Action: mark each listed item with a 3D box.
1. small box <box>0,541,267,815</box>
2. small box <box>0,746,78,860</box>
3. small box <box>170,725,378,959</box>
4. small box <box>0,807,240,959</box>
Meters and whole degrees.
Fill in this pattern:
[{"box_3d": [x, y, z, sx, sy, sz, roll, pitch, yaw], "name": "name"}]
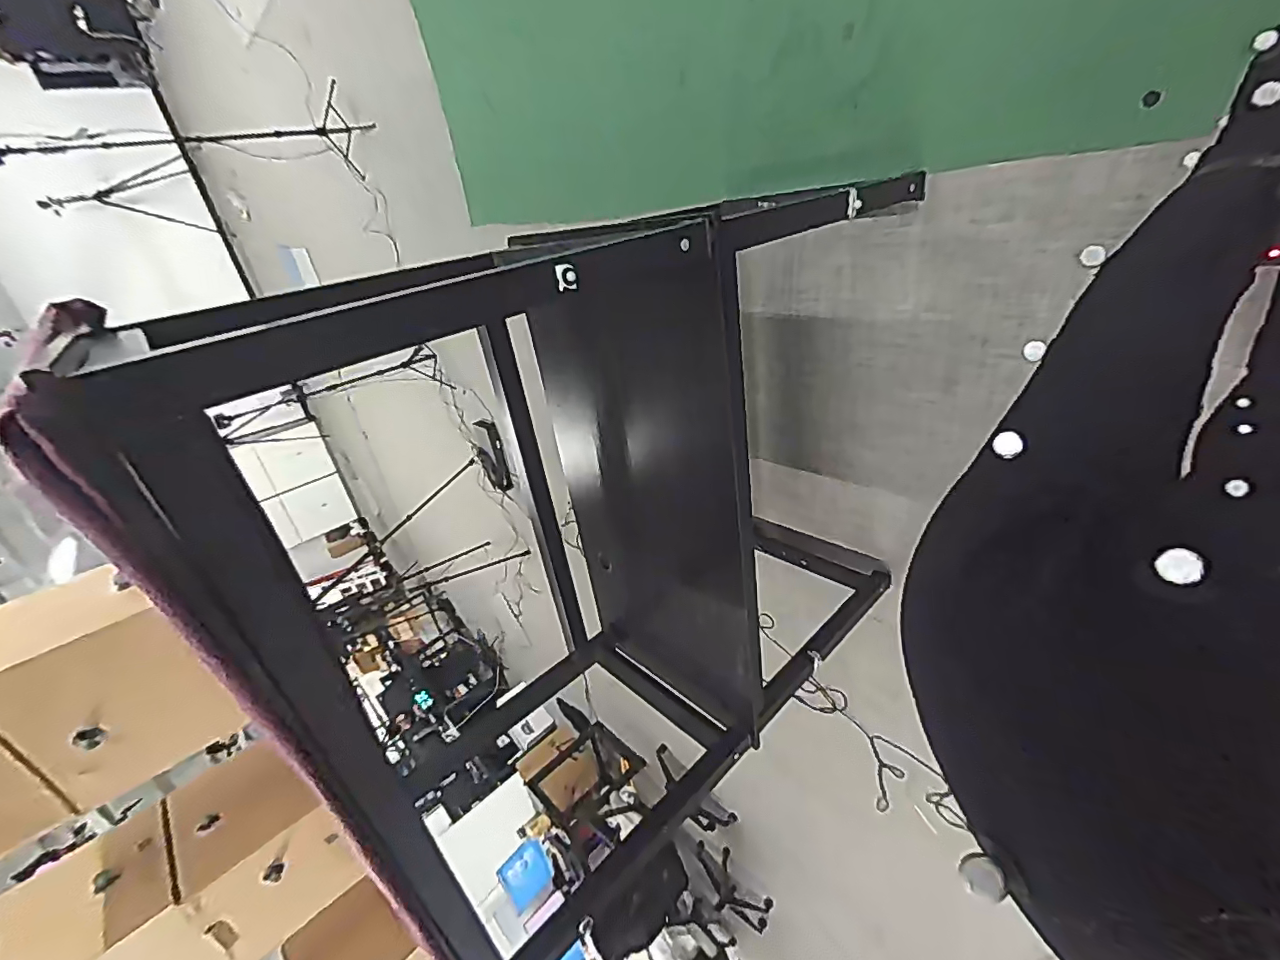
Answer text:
[{"box_3d": [-0.534, 0.197, 0.580, 0.168, 0.176, 0.179, 22, 131, 47], "name": "small box"}, {"box_3d": [-0.659, 0.264, 0.501, 0.168, 0.176, 0.179, 22, 132, 46], "name": "small box"}, {"box_3d": [-0.476, 0.471, 0.719, 0.179, 0.176, 0.168, 23, 131, 44], "name": "small box"}, {"box_3d": [-0.596, 0.539, 0.629, 0.168, 0.176, 0.179, 22, 130, 42], "name": "small box"}]
